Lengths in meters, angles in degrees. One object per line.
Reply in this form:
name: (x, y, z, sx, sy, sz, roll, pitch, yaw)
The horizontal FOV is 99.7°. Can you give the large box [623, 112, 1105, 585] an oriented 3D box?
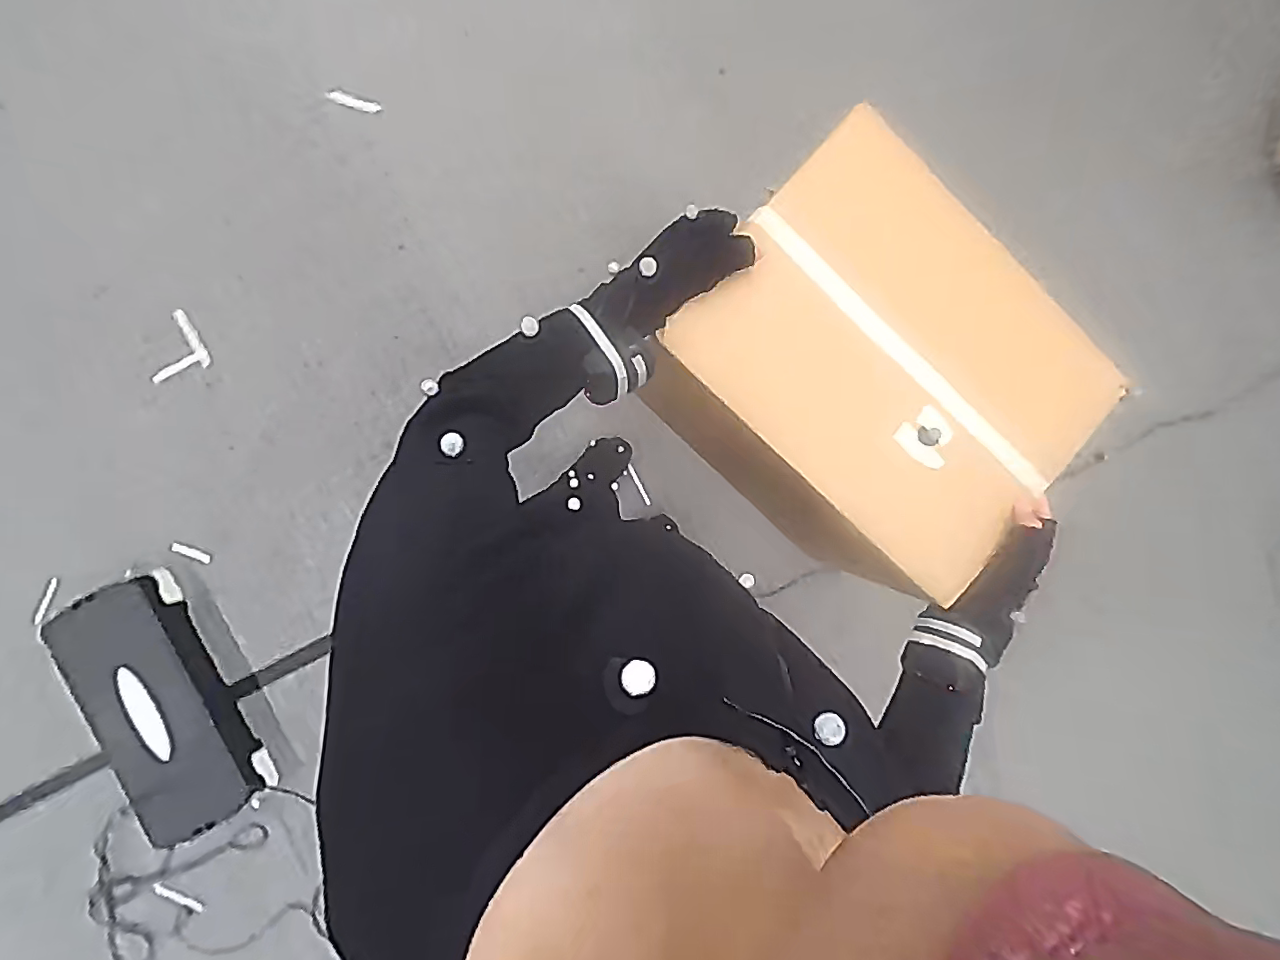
large box: (0.236, -0.133, 0.696, 0.408, 0.320, 0.320, 42, 86, -6)
